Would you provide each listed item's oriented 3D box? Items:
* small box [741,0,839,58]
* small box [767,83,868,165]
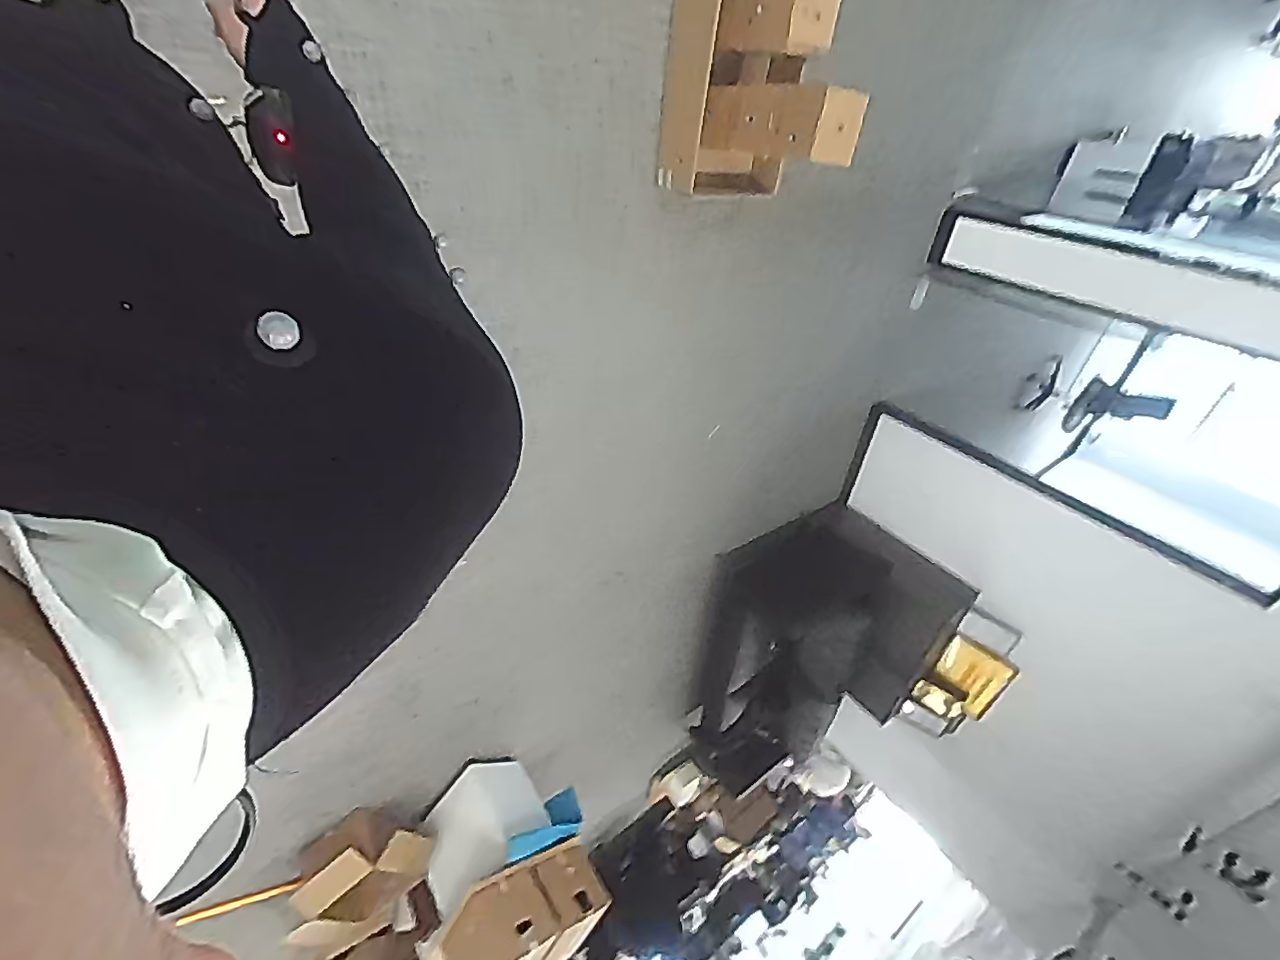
[{"bbox_3d":[0.398,-1.236,1.431,0.179,0.176,0.168,-20,134,-31],"label":"small box"},{"bbox_3d":[0.476,-0.969,1.474,0.179,0.176,0.168,-16,130,-33],"label":"small box"}]
